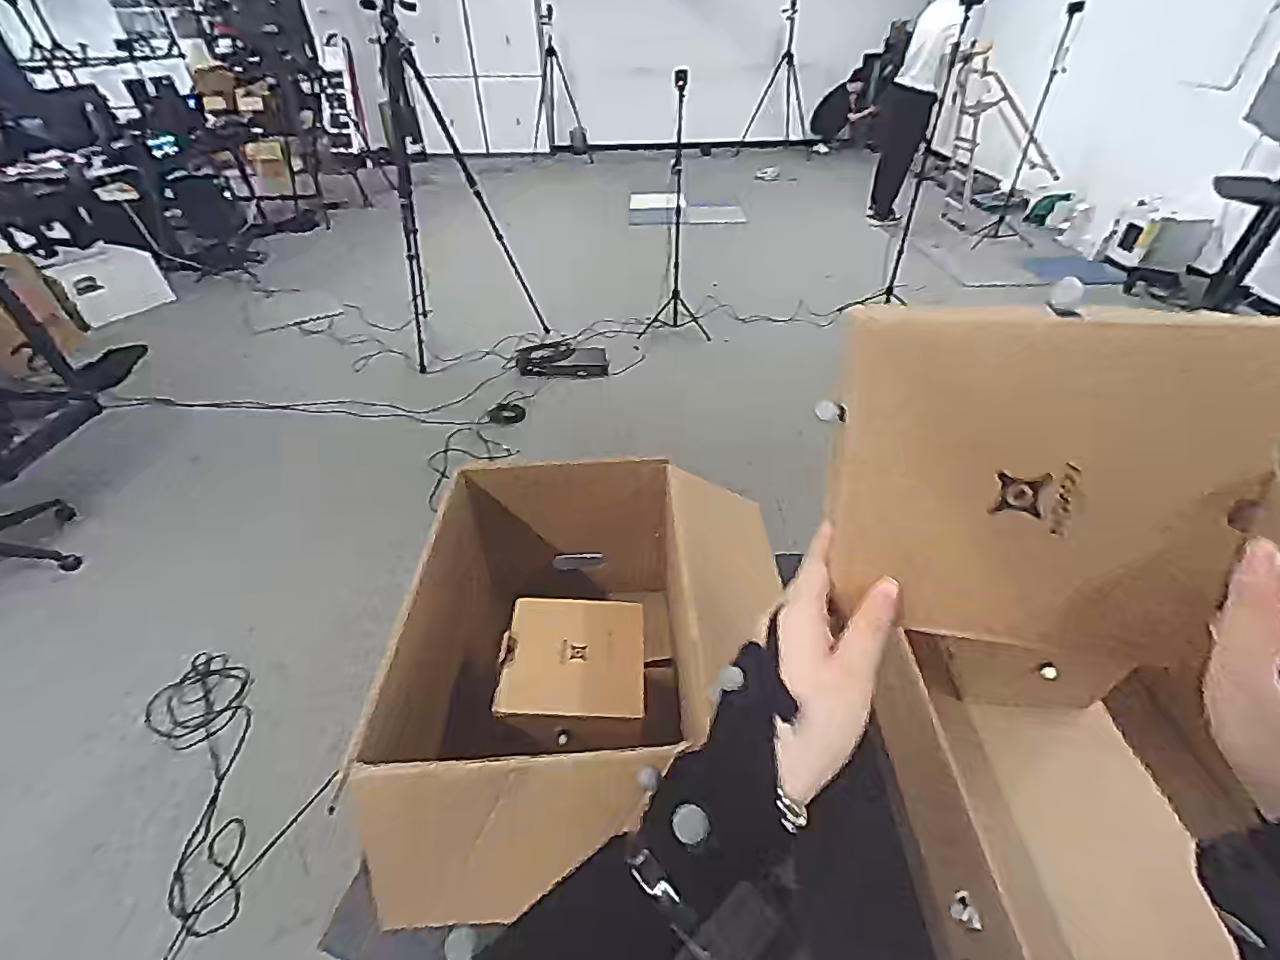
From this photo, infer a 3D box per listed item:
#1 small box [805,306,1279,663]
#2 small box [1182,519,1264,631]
[{"bbox_3d":[0.202,-0.018,0.337,0.179,0.168,0.176,5,20,15],"label":"small box"},{"bbox_3d":[0.537,0.081,0.648,0.168,0.176,0.179,1,42,3],"label":"small box"}]
